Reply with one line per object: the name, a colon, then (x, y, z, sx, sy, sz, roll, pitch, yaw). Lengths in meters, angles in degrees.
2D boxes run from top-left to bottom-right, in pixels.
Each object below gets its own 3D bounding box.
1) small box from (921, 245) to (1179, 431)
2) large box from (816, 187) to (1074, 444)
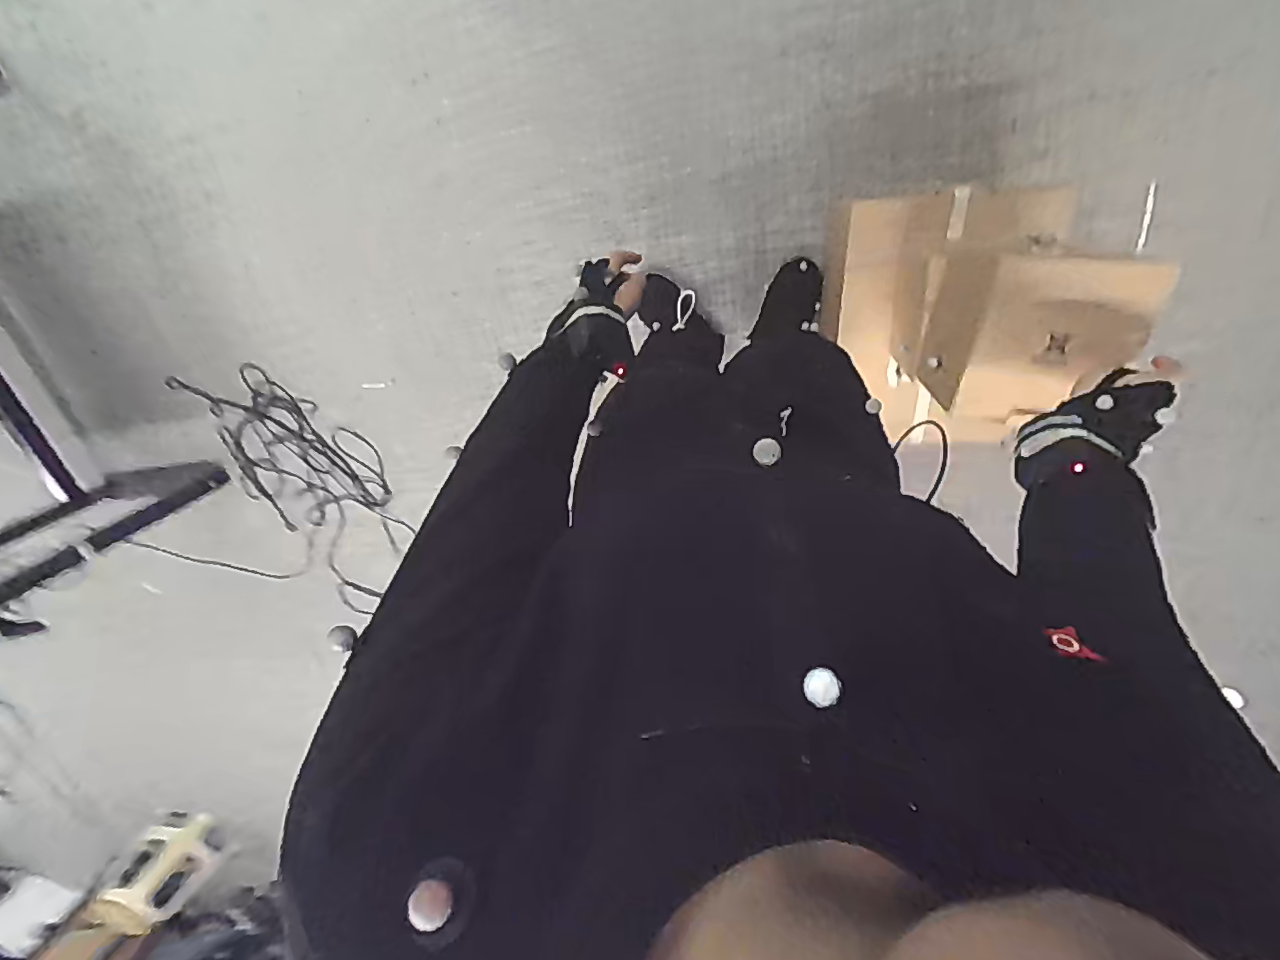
small box: (0.457, -0.176, 0.644, 0.168, 0.176, 0.179, 6, 118, 8)
large box: (0.521, -0.315, 1.026, 0.320, 0.320, 0.408, 3, 119, 12)
